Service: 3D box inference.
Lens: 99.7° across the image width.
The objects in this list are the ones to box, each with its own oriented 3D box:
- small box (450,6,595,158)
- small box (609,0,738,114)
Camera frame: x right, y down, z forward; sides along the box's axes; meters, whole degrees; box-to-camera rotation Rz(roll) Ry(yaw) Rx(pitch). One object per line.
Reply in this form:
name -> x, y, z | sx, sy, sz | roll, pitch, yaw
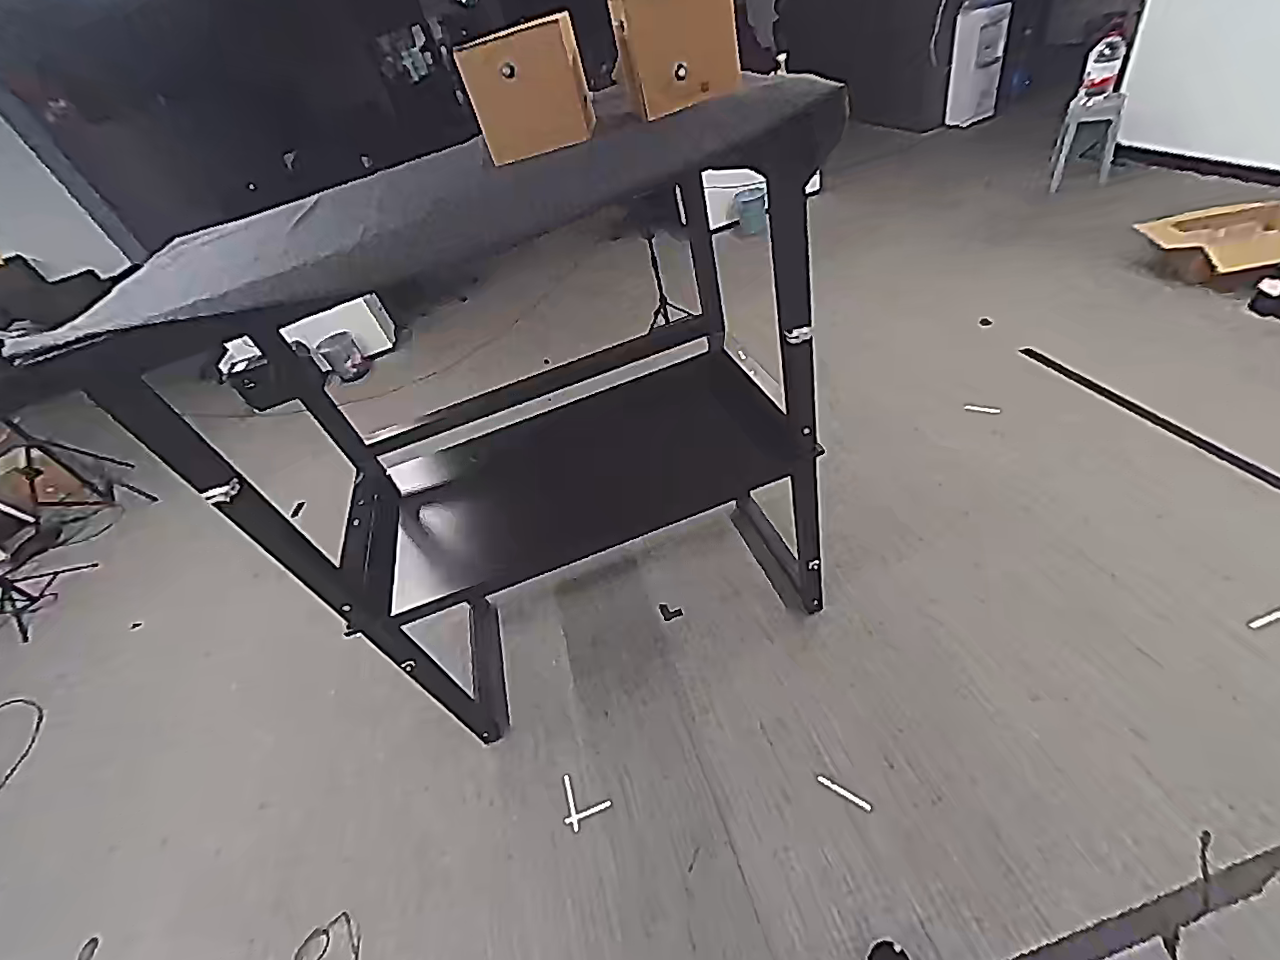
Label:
small box -> -0.190, -0.678, 0.928 | 0.179, 0.176, 0.168 | -10, 43, 9
small box -> 0.054, -0.734, 0.899 | 0.168, 0.176, 0.179 | -18, 42, 2
